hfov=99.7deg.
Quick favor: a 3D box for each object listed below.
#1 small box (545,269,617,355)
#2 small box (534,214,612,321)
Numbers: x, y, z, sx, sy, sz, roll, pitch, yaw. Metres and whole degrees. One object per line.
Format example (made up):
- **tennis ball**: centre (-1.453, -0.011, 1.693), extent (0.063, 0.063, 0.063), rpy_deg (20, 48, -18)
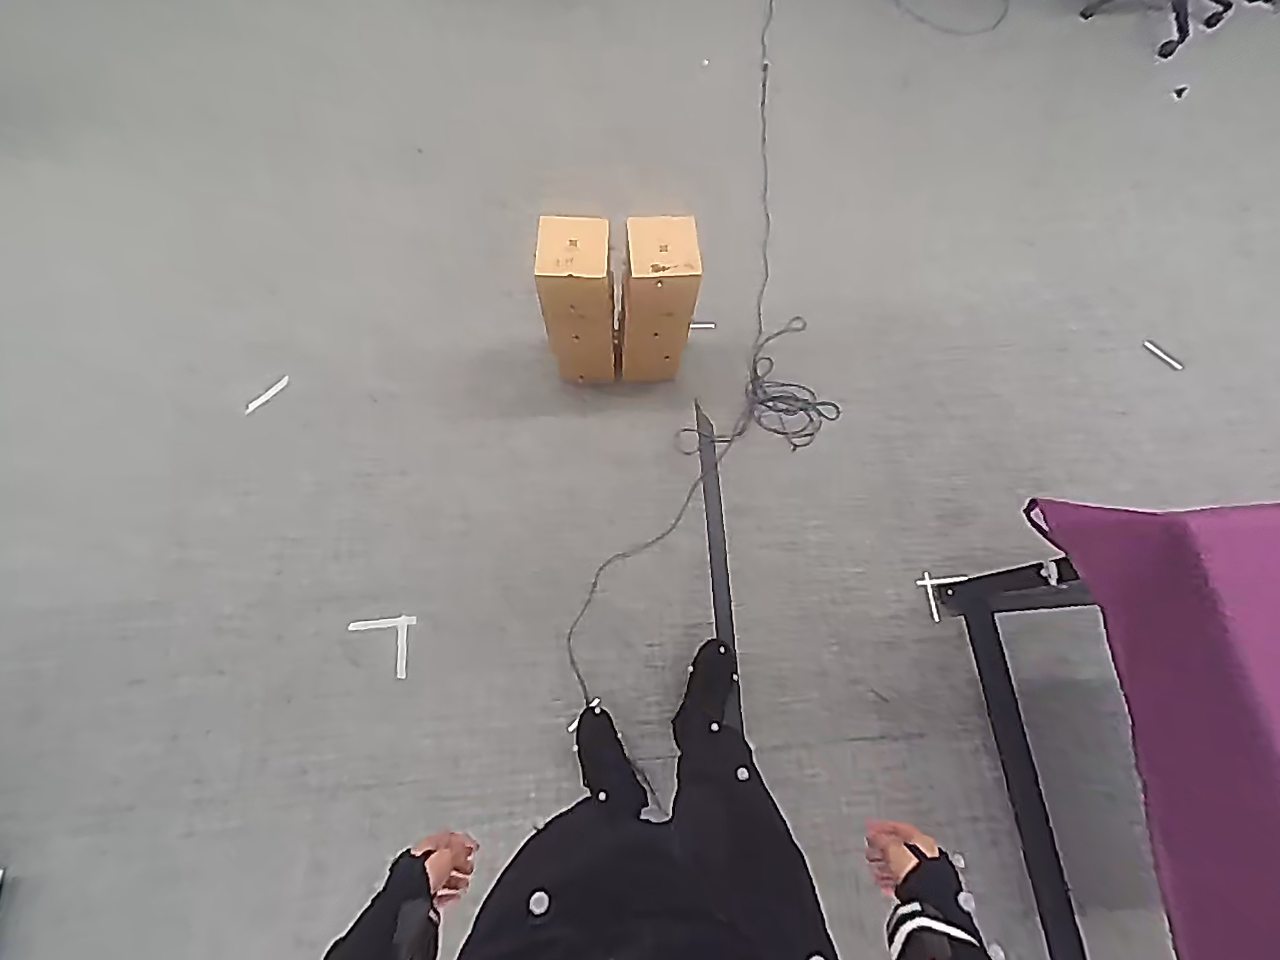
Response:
- **small box**: centre (-0.154, -0.452, 1.464), extent (0.179, 0.176, 0.168), rpy_deg (1, 71, 0)
- **small box**: centre (-0.155, -0.511, 1.310), extent (0.168, 0.176, 0.179), rpy_deg (2, 72, 0)
